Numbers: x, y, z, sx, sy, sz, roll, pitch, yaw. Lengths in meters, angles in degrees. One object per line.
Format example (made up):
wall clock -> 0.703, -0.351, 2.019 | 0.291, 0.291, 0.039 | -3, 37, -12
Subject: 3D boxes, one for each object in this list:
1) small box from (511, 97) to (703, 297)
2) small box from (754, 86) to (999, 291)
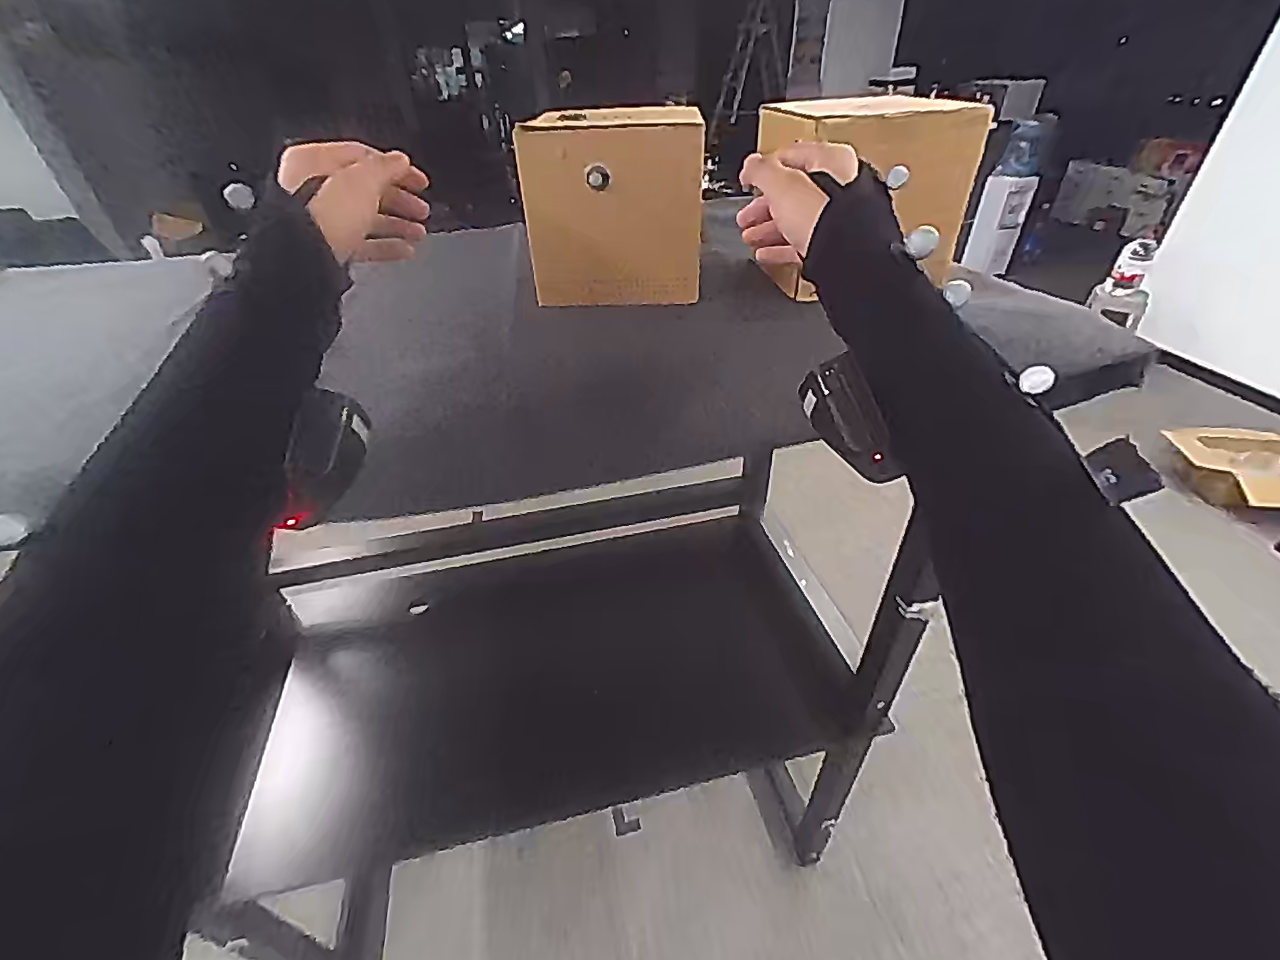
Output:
small box -> -0.022, -0.307, 0.588 | 0.179, 0.176, 0.168 | 0, 38, 4
small box -> 0.229, -0.316, 0.585 | 0.168, 0.176, 0.179 | -7, 38, -4
